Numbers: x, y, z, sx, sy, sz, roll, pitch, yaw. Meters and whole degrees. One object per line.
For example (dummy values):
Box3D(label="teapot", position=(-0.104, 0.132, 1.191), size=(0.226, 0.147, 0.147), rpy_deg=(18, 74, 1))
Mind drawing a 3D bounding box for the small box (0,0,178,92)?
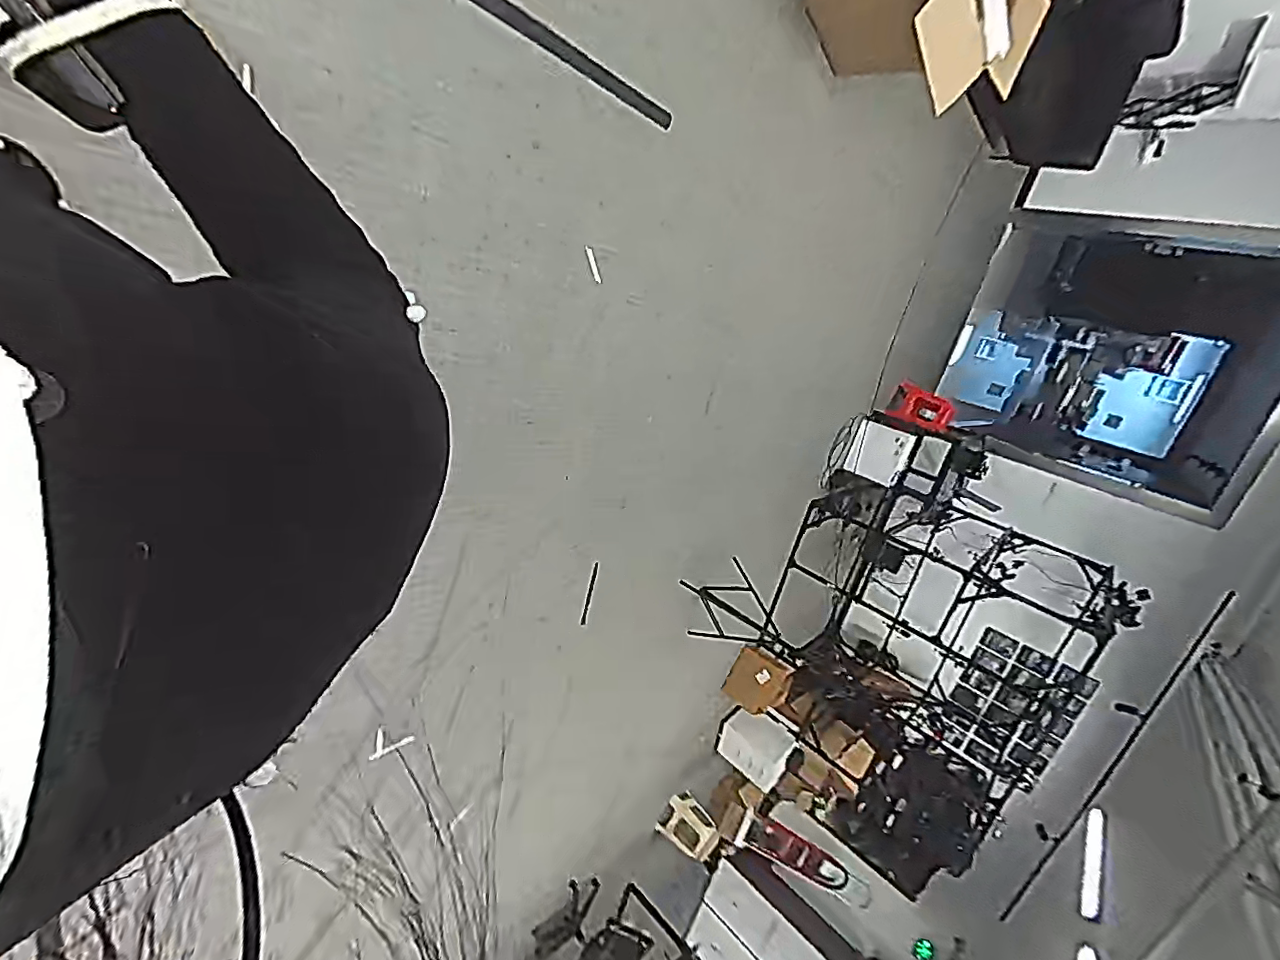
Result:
Box3D(label="small box", position=(-0.785, -0.669, 0.759), size=(0.179, 0.176, 0.168), rpy_deg=(-12, 121, -48))

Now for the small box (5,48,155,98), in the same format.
Box3D(label="small box", position=(-0.900, -0.737, 0.859), size=(0.168, 0.176, 0.179), rpy_deg=(-11, 122, -47))
